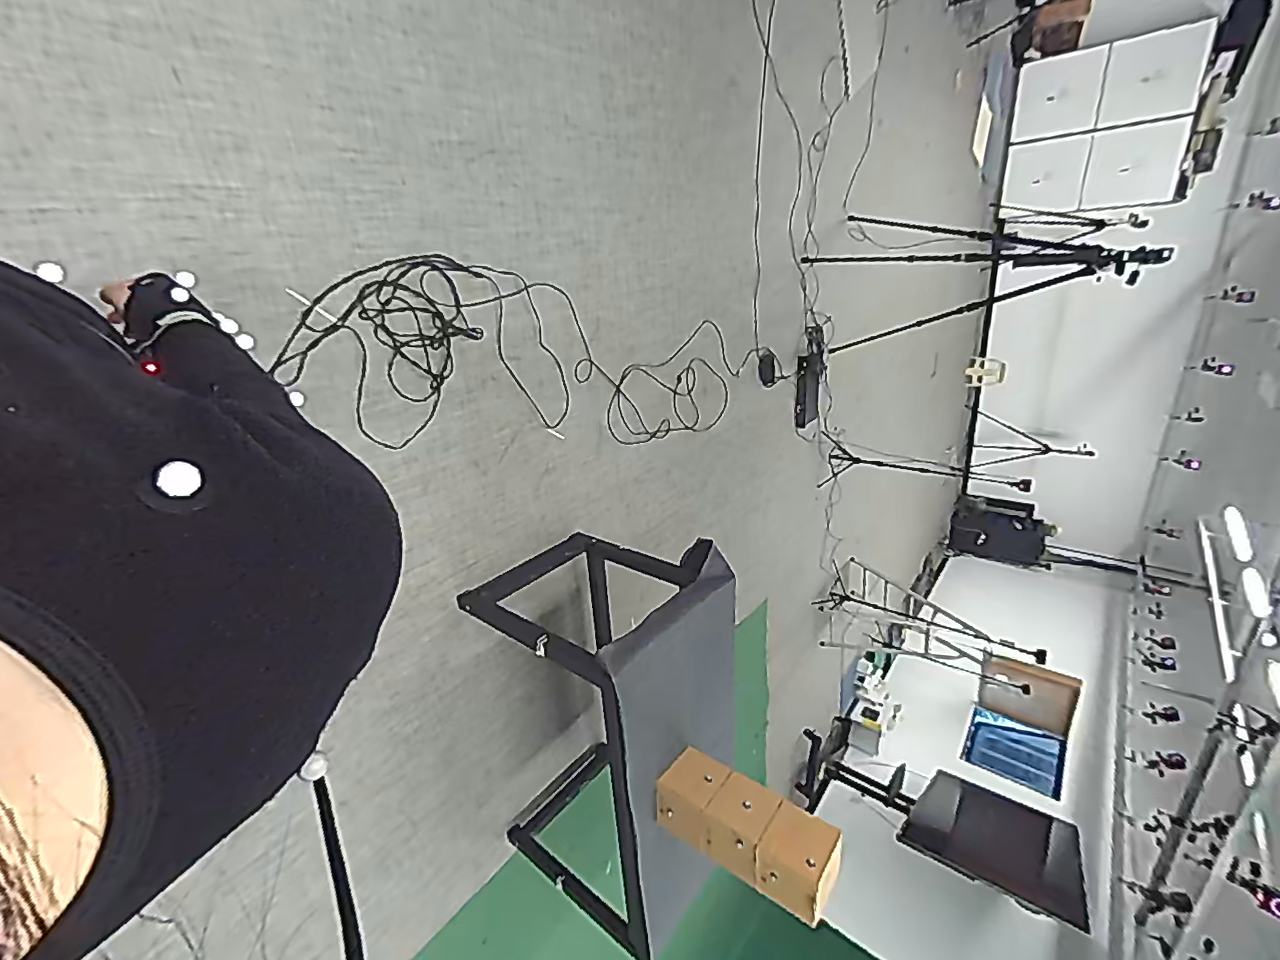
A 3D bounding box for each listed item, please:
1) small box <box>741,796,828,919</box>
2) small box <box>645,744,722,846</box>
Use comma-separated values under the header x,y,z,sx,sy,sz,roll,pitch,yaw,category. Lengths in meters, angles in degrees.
x,y,z,sx,sy,sz,roll,pitch,yaw,category
0.391,1.009,1.463,0.179,0.176,0.168,-27,121,-47,small box
0.134,0.953,1.656,0.179,0.176,0.168,-20,116,-48,small box
